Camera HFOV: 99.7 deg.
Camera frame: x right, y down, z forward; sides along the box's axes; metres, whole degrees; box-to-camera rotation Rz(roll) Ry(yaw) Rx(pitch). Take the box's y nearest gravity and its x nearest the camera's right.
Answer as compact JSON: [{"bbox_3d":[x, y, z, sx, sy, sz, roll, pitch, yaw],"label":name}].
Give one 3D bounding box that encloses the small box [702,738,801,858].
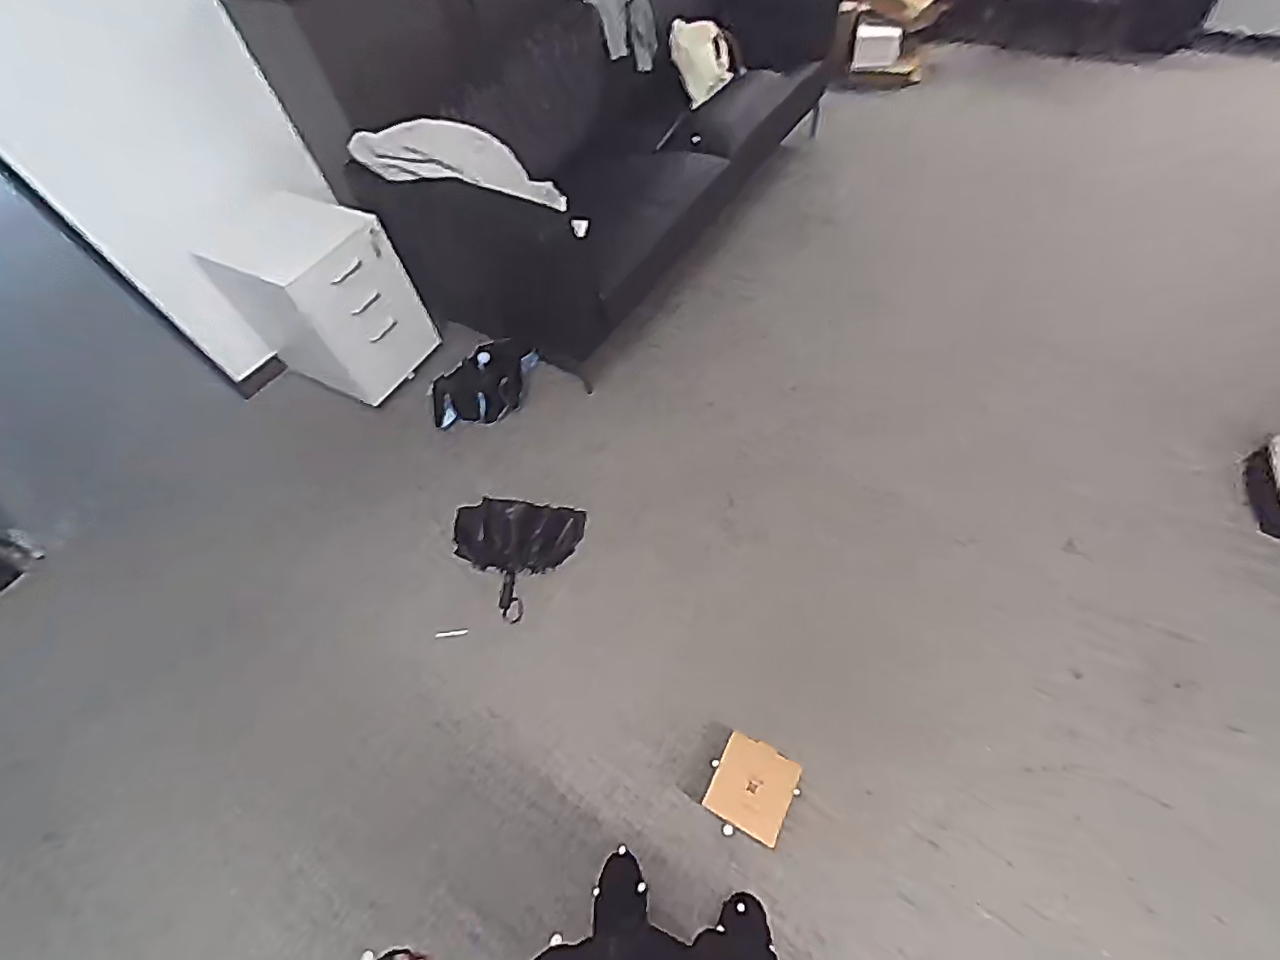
[{"bbox_3d":[0.252,0.727,1.238,0.168,0.176,0.179,21,62,22],"label":"small box"}]
